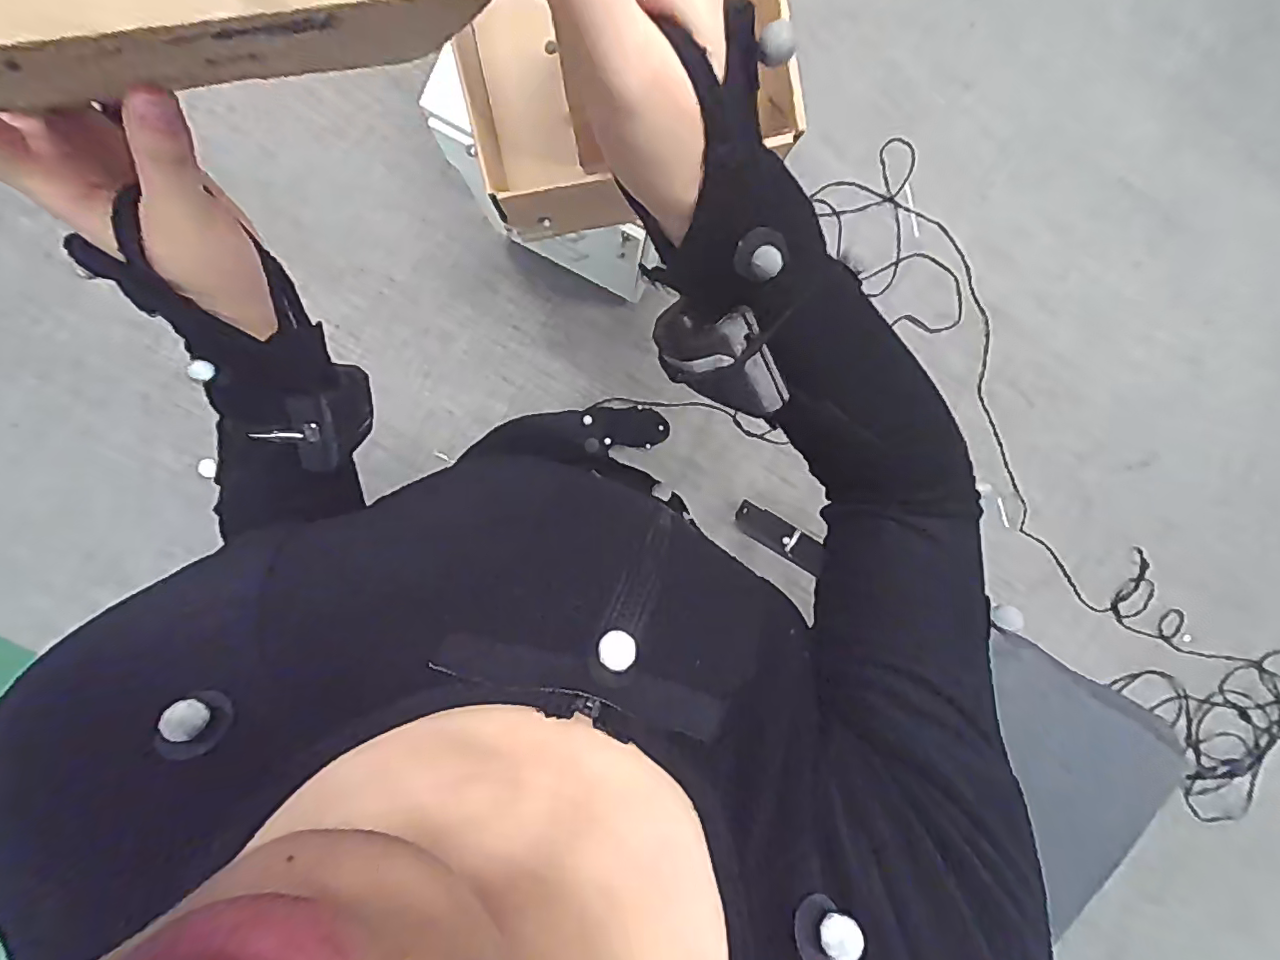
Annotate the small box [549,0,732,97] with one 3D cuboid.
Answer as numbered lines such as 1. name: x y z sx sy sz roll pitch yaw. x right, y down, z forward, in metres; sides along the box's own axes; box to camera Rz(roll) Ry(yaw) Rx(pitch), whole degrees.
1. small box: -0.008 -0.521 0.533 0.179 0.176 0.168 -10 95 0

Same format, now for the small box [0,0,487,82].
1. small box: -0.159 -0.228 0.150 0.168 0.179 0.176 -24 129 -17
